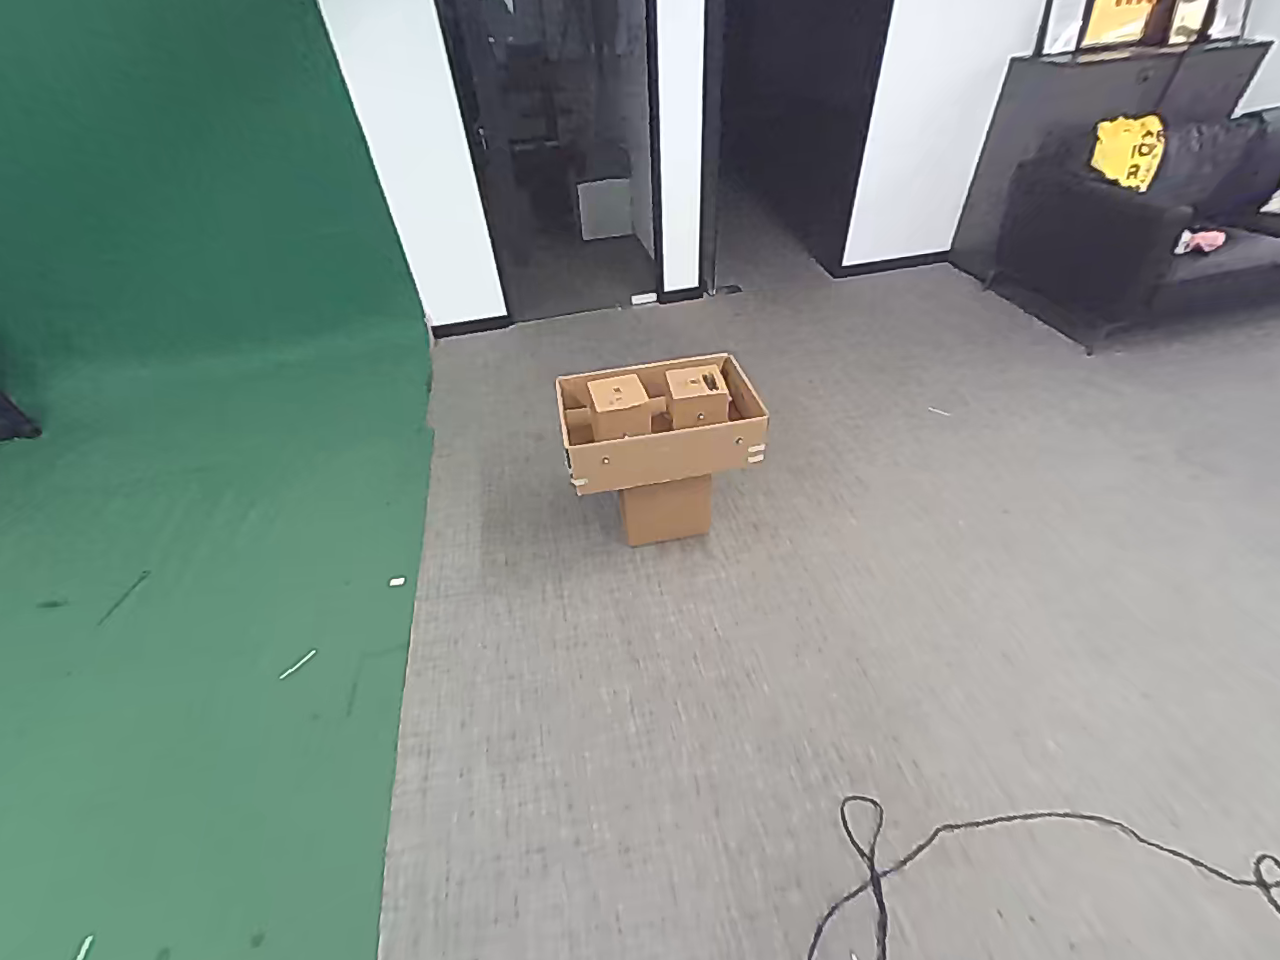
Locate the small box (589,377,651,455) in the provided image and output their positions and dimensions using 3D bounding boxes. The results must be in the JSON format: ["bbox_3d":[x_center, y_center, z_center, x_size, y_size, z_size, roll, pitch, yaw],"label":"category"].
[{"bbox_3d":[-0.063,-0.205,1.737,0.168,0.176,0.179,-12,43,-9],"label":"small box"}]
